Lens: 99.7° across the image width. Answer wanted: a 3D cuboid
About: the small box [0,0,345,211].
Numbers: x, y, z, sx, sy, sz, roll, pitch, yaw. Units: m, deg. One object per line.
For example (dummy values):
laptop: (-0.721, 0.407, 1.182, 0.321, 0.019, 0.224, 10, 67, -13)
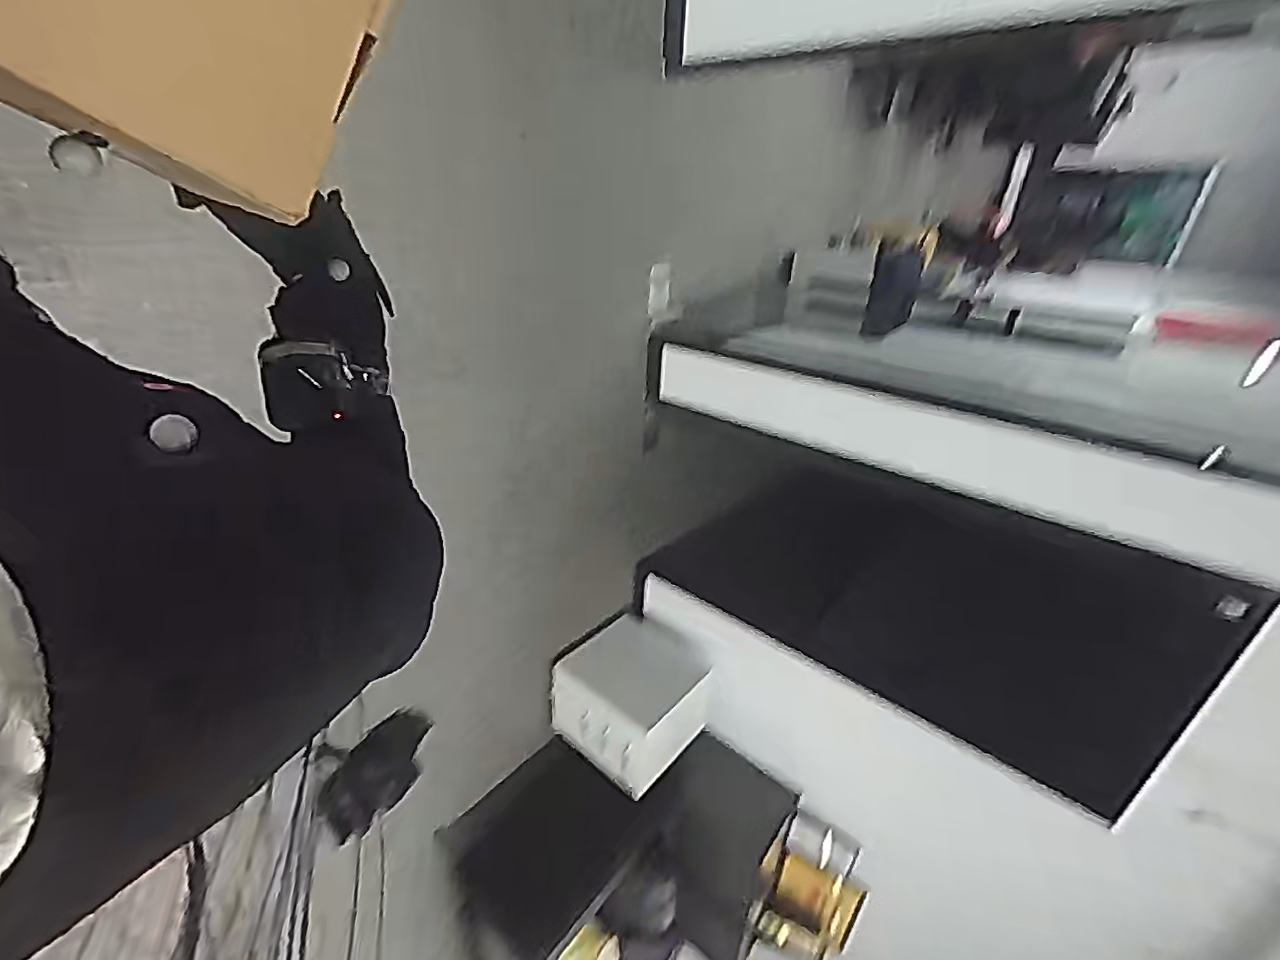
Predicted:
small box: (-0.185, -0.197, 0.133, 0.179, 0.176, 0.168, 14, 101, -52)
